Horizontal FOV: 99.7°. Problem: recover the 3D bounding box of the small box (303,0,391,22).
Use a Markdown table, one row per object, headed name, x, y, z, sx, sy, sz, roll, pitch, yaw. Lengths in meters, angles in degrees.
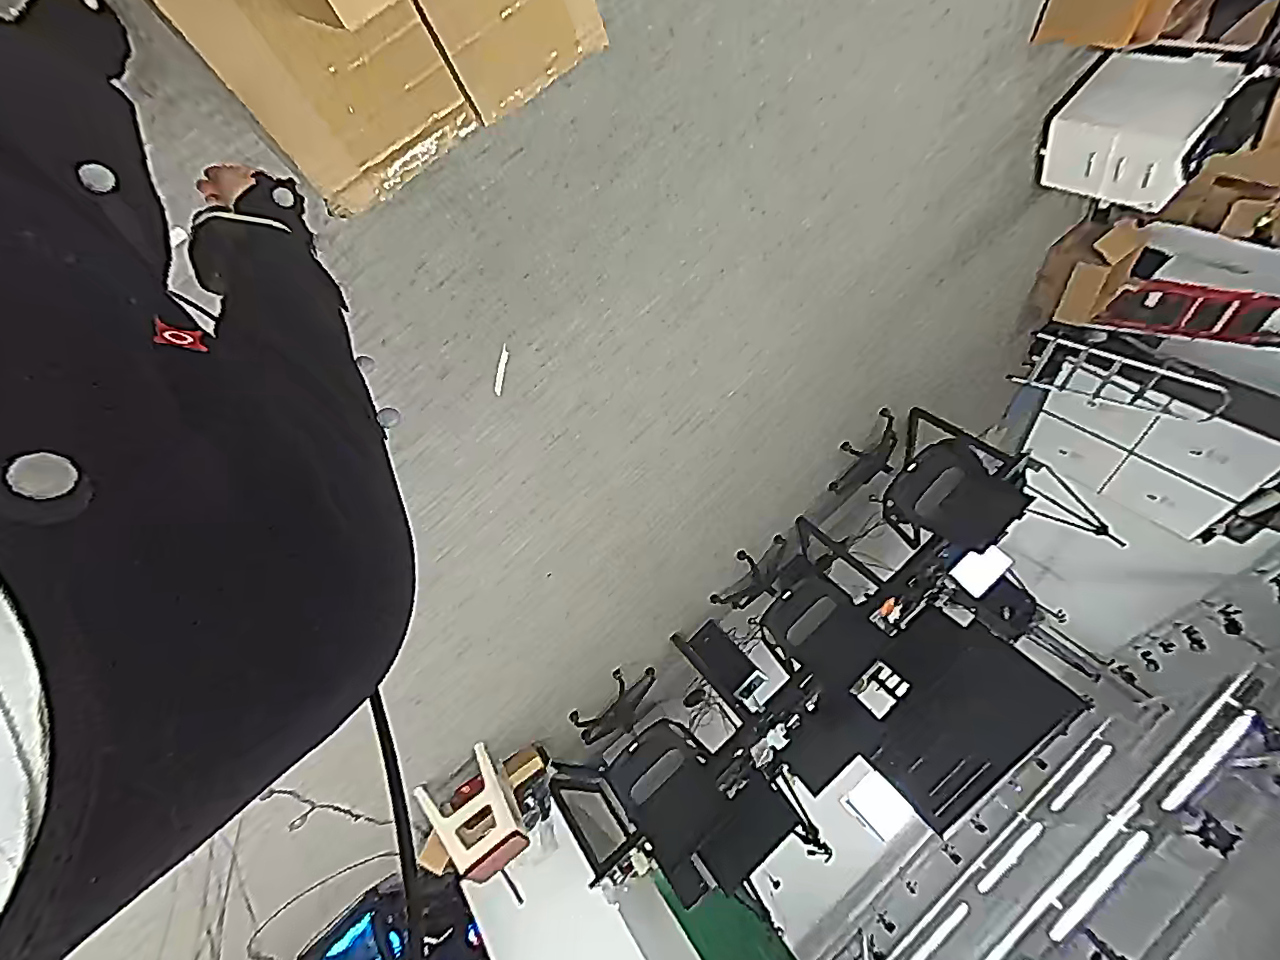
| name | x | y | z | sx | sy | sz | roll | pitch | yaw |
| --- | --- | --- | --- | --- | --- | --- | --- | --- | --- |
| small box | -0.238 | -0.491 | 0.406 | 0.168 | 0.176 | 0.179 | -40 | 145 | -7 |
